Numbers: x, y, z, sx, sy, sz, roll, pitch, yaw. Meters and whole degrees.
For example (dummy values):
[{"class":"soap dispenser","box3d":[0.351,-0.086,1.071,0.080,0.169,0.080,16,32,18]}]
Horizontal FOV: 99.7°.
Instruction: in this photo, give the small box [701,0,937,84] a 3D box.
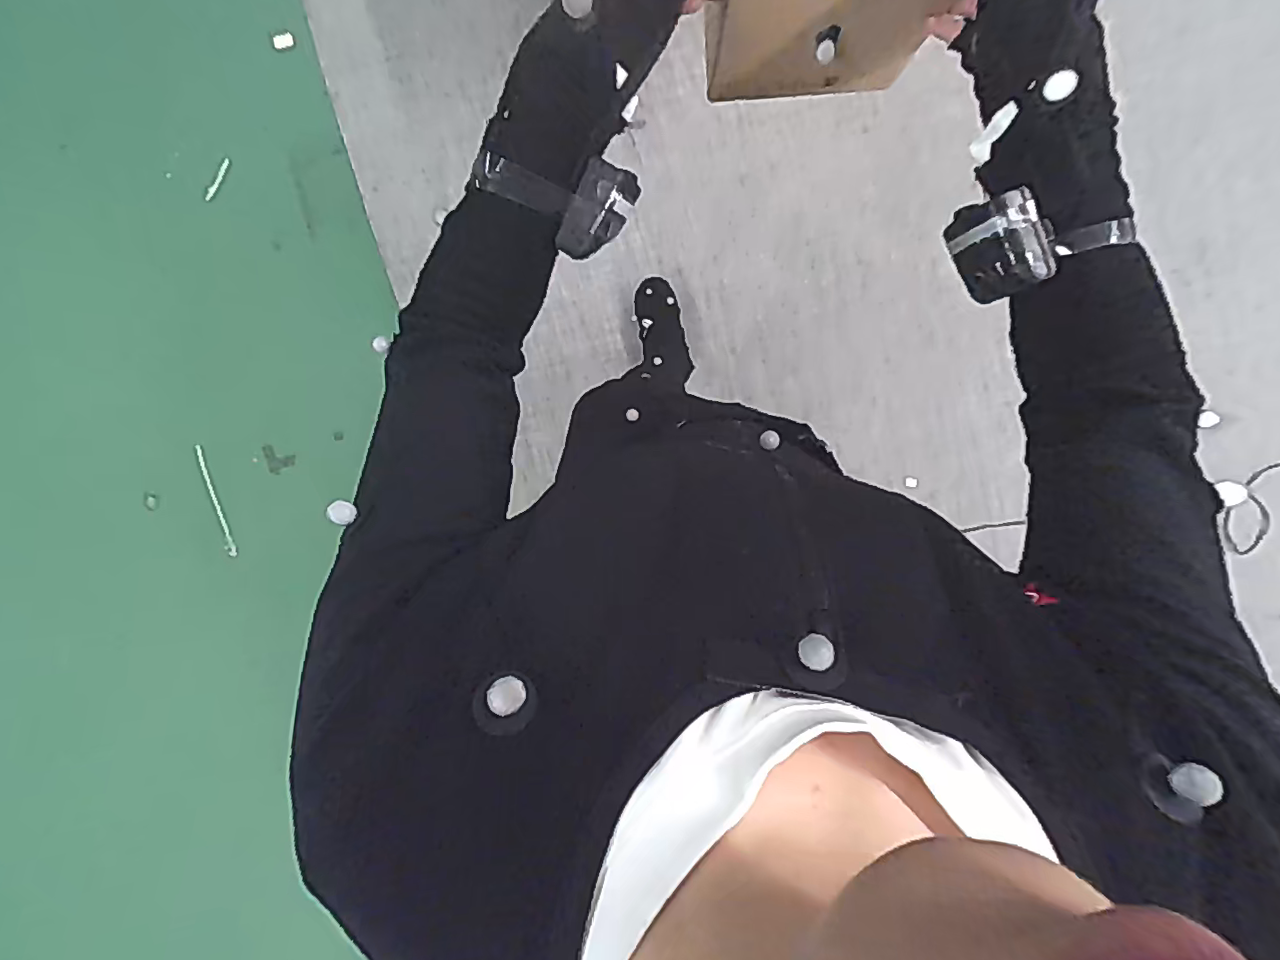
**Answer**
[{"class":"small box","box3d":[0.134,-0.421,0.390,0.168,0.176,0.179,-3,97,1]}]
